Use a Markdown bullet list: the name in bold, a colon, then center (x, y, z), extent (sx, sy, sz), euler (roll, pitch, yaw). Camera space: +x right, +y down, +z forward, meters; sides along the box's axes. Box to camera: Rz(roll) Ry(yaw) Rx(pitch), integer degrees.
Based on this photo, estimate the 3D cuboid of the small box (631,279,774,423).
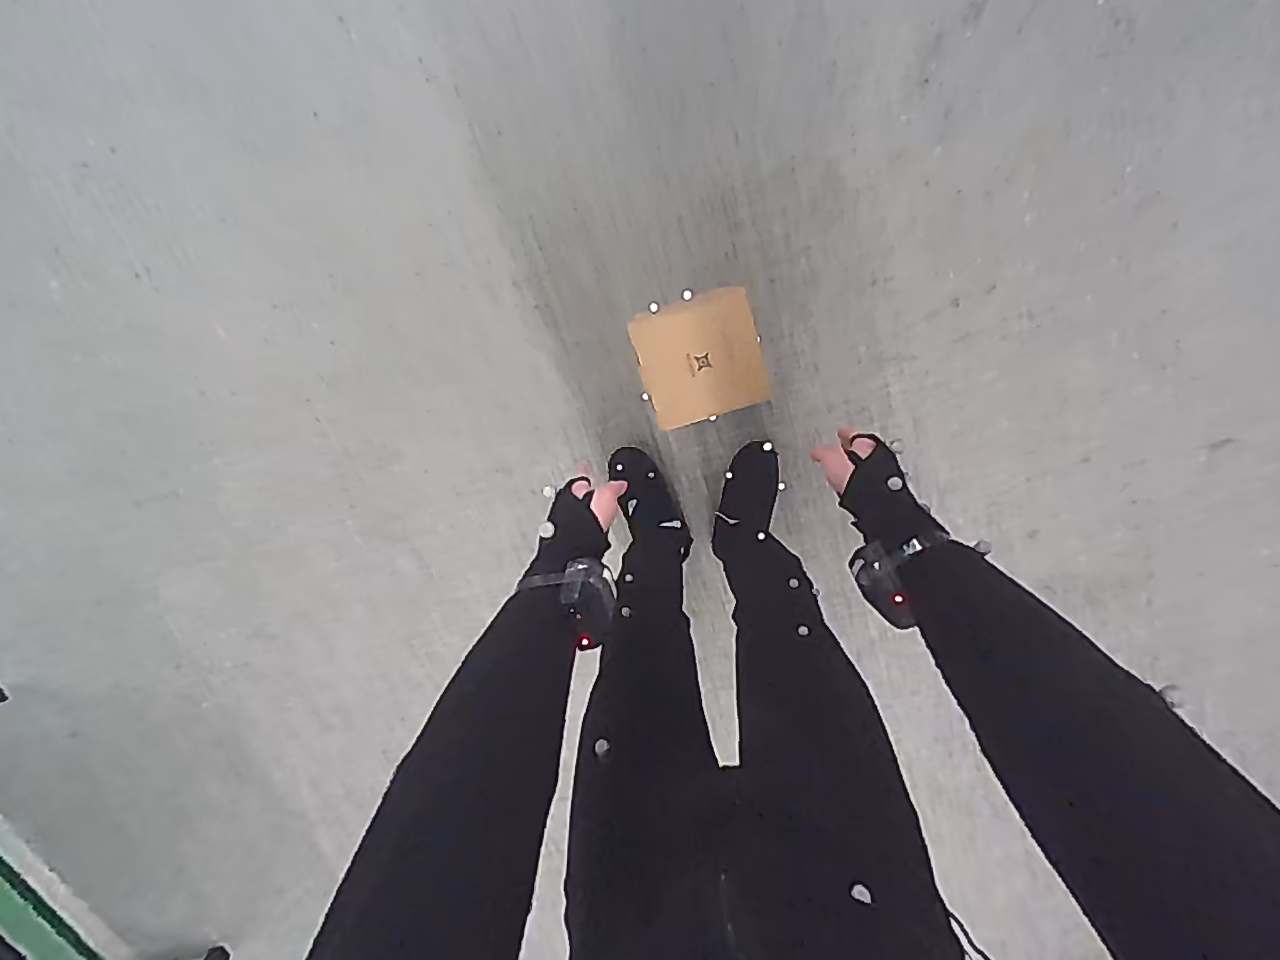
- **small box**: center (0.095, -0.207, 0.859), extent (0.179, 0.176, 0.168), euler (-17, 108, 7)
